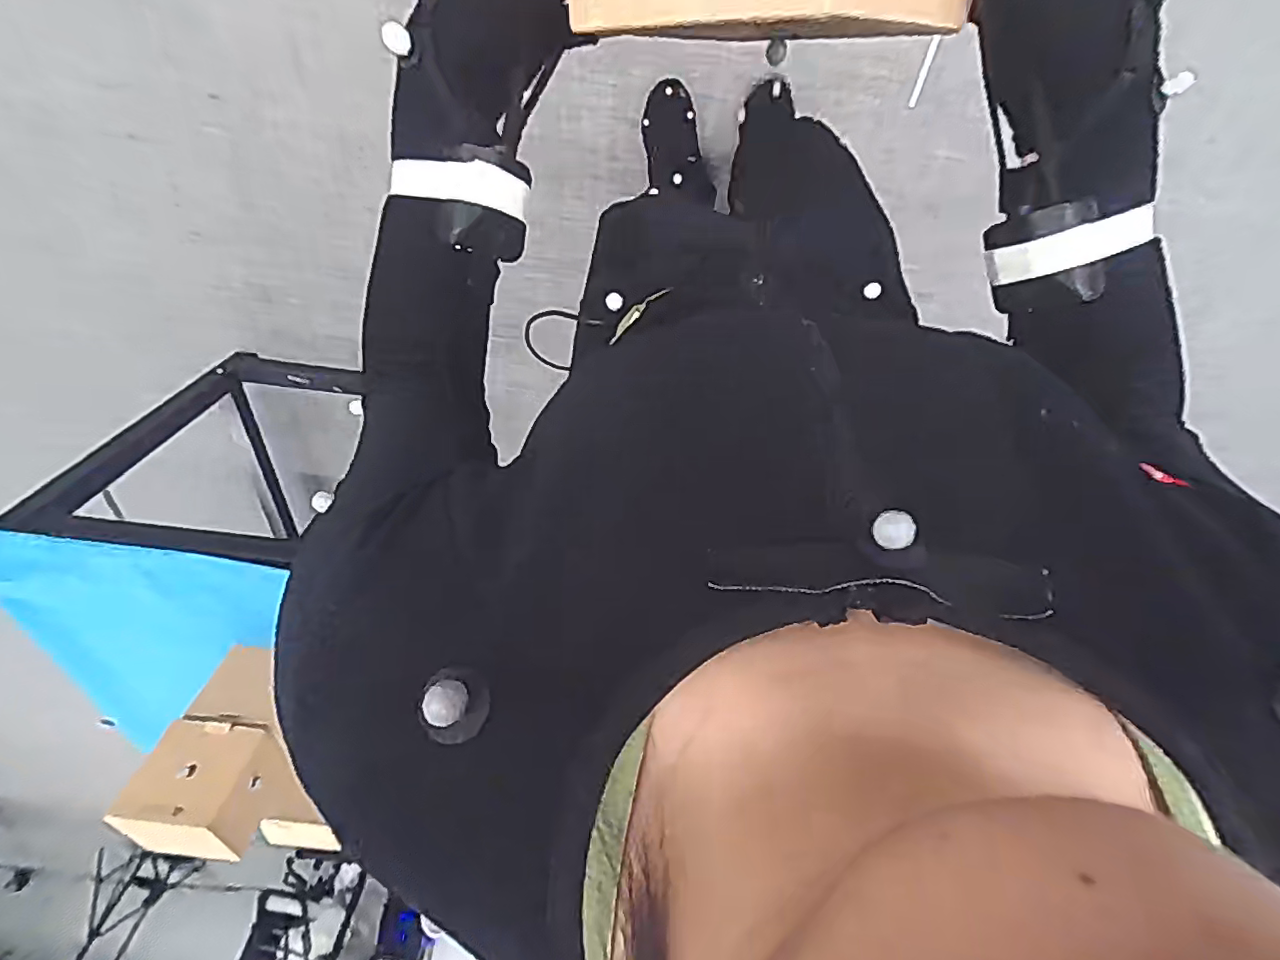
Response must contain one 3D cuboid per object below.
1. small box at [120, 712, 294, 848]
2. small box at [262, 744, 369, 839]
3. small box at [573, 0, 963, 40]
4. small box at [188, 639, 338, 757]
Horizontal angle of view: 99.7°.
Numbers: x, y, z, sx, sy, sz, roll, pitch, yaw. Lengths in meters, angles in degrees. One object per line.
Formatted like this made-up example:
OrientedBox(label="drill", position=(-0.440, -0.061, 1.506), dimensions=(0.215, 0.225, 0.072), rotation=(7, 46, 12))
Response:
OrientedBox(label="small box", position=(-0.786, 0.555, 0.995), dimensions=(0.168, 0.176, 0.179), rotation=(9, 131, -2))
OrientedBox(label="small box", position=(-0.842, 0.820, 1.418), dimensions=(0.179, 0.176, 0.168), rotation=(10, 128, -6))
OrientedBox(label="small box", position=(0.077, -0.340, 0.281), dimensions=(0.176, 0.179, 0.168), rotation=(31, 137, 34))
OrientedBox(label="small box", position=(-0.773, 0.458, 1.126), dimensions=(0.179, 0.176, 0.168), rotation=(7, 129, -2))
